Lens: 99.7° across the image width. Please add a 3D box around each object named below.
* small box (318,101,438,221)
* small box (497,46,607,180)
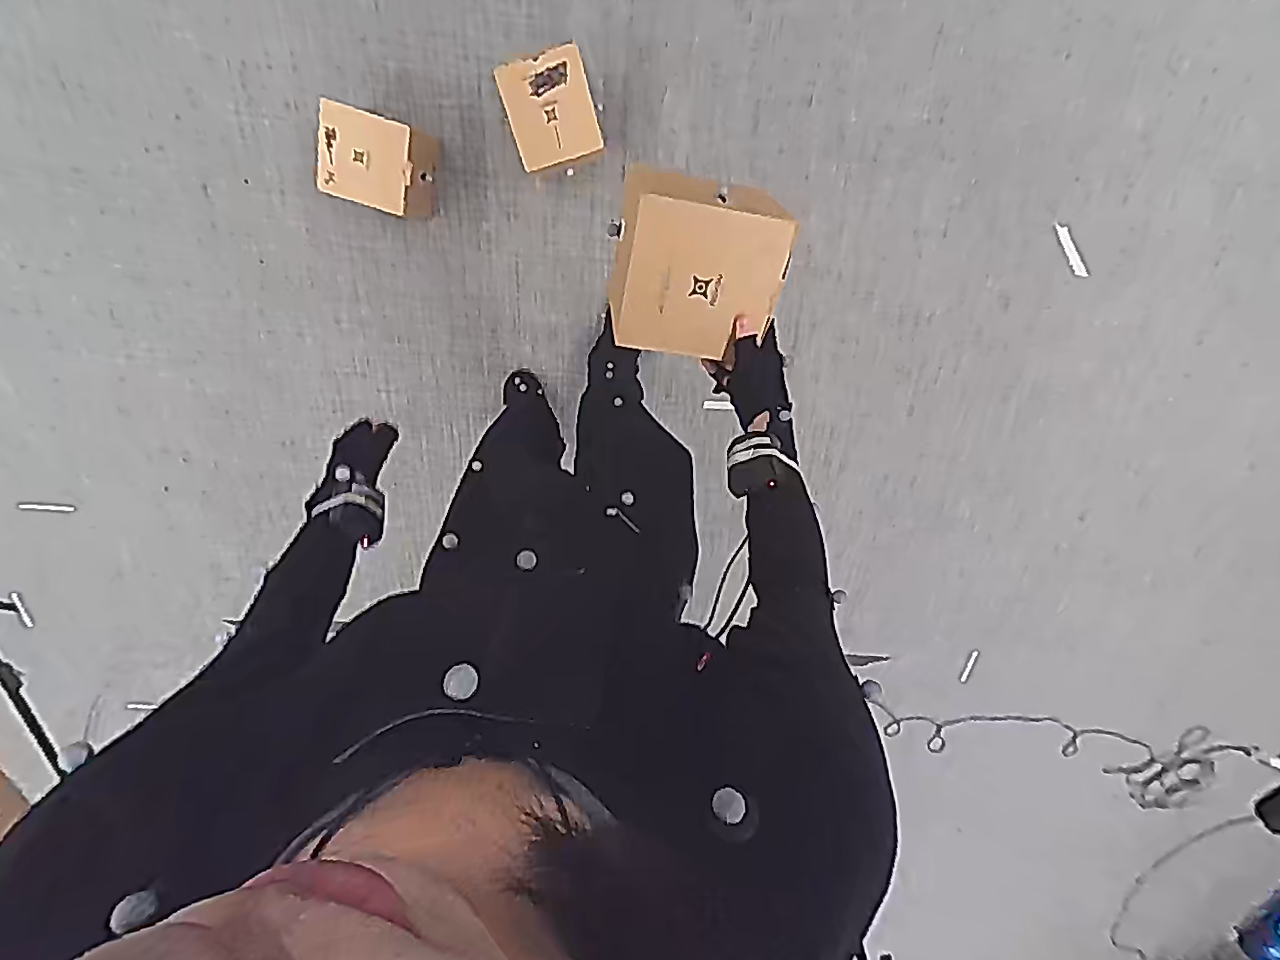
[{"bbox_3d":[-0.541,-0.660,1.134,0.179,0.176,0.168,15,114,-8],"label":"small box"},{"bbox_3d":[-0.169,-0.733,1.100,0.168,0.176,0.179,-14,115,6],"label":"small box"}]
